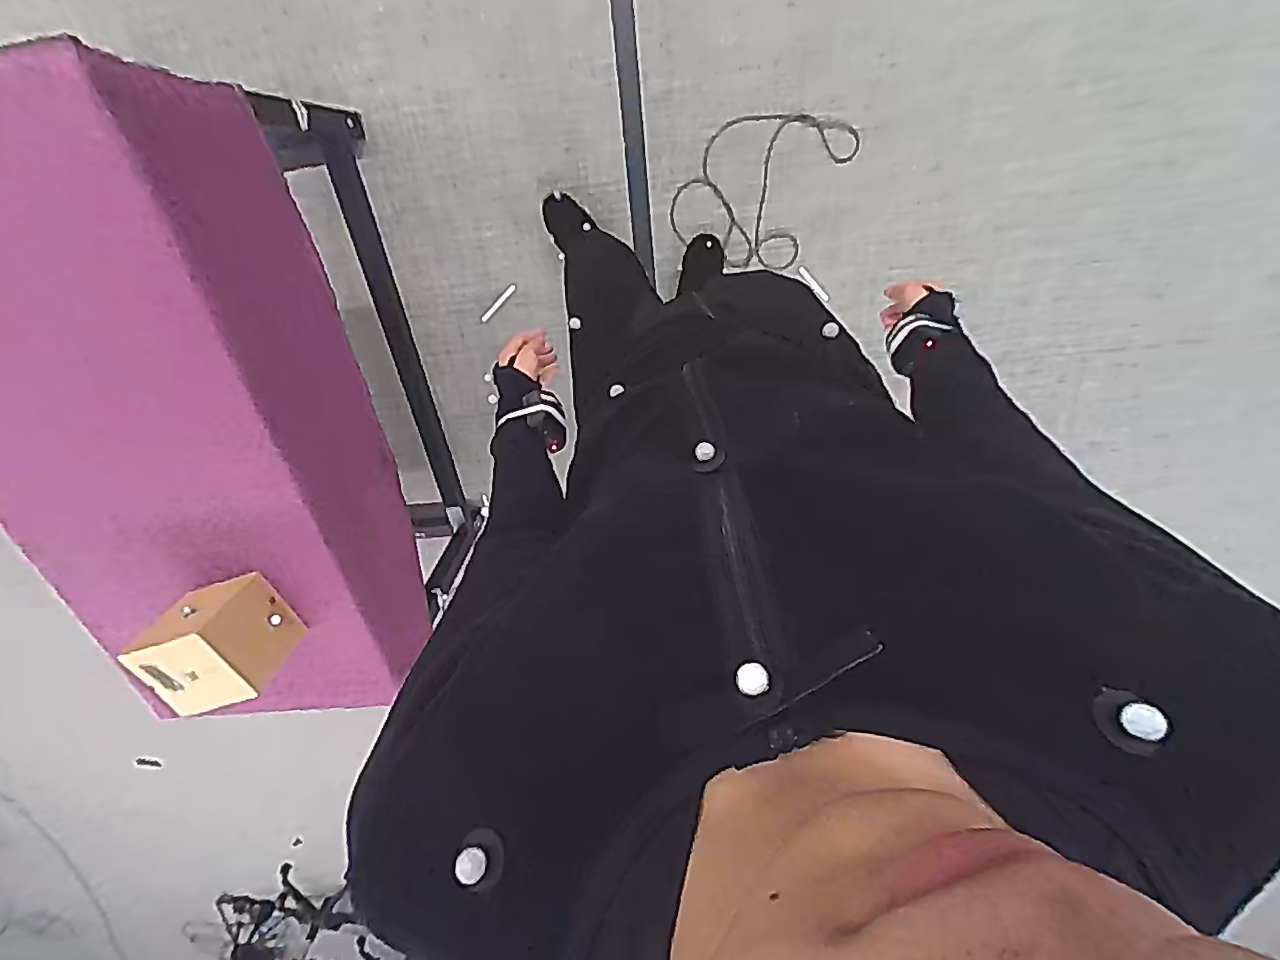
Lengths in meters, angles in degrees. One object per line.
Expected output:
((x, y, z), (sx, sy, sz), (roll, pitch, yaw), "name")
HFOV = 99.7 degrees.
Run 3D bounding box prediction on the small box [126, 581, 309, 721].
((-0.785, 0.319, 1.027), (0.179, 0.176, 0.168), (-17, 117, 11), "small box")
